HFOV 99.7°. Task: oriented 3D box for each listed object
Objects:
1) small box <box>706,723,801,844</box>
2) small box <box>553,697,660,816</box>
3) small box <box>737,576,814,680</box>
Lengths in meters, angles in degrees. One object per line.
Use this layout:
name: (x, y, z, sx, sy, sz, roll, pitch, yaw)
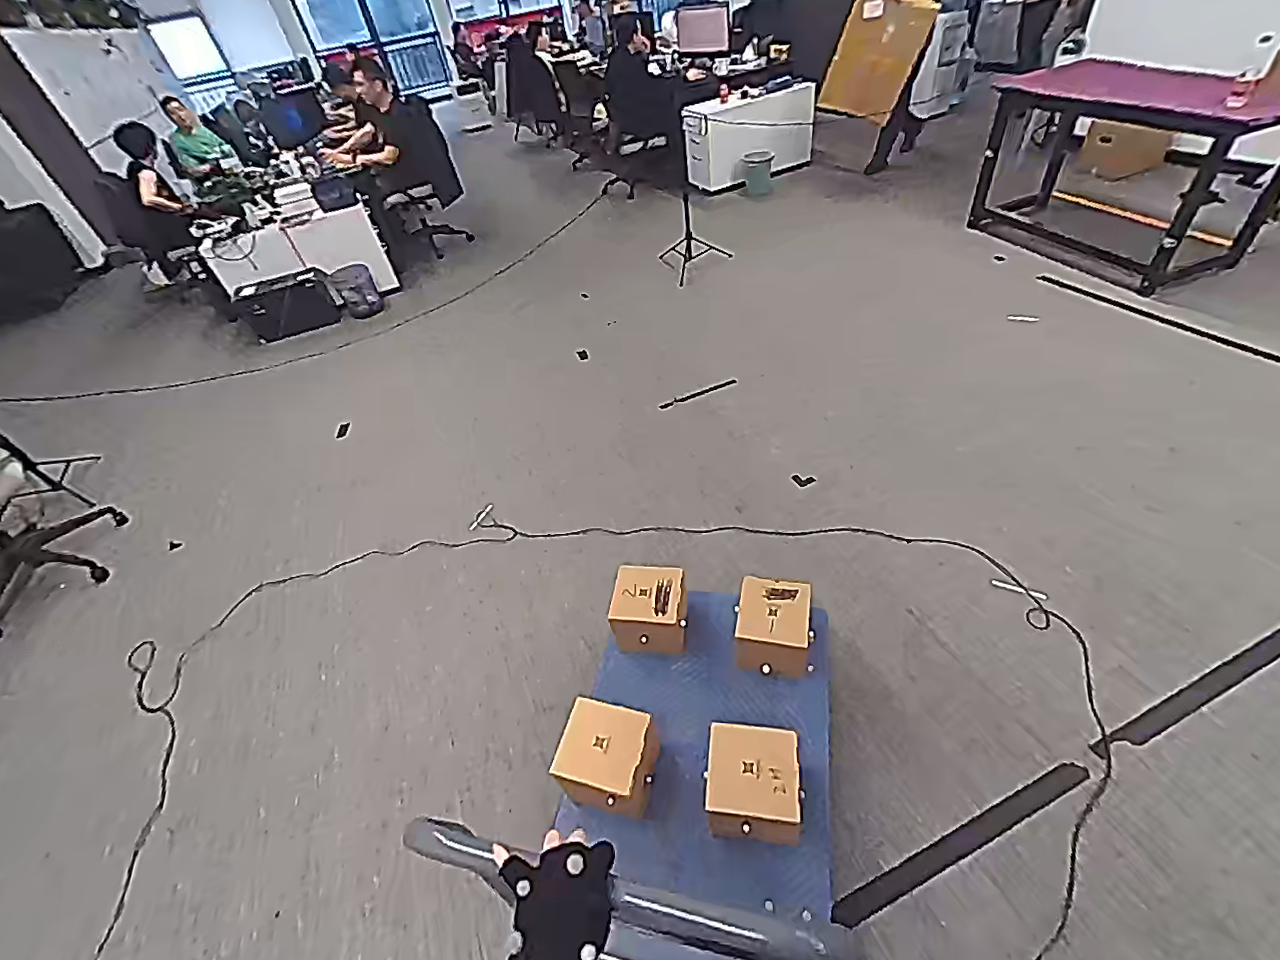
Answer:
small box: (0.234, 0.620, 1.104, 0.179, 0.176, 0.168, 1, 45, 13)
small box: (-0.065, 0.607, 1.183, 0.179, 0.176, 0.168, 7, 46, 16)
small box: (0.336, 0.367, 1.346, 0.168, 0.176, 0.179, 5, 47, 17)
